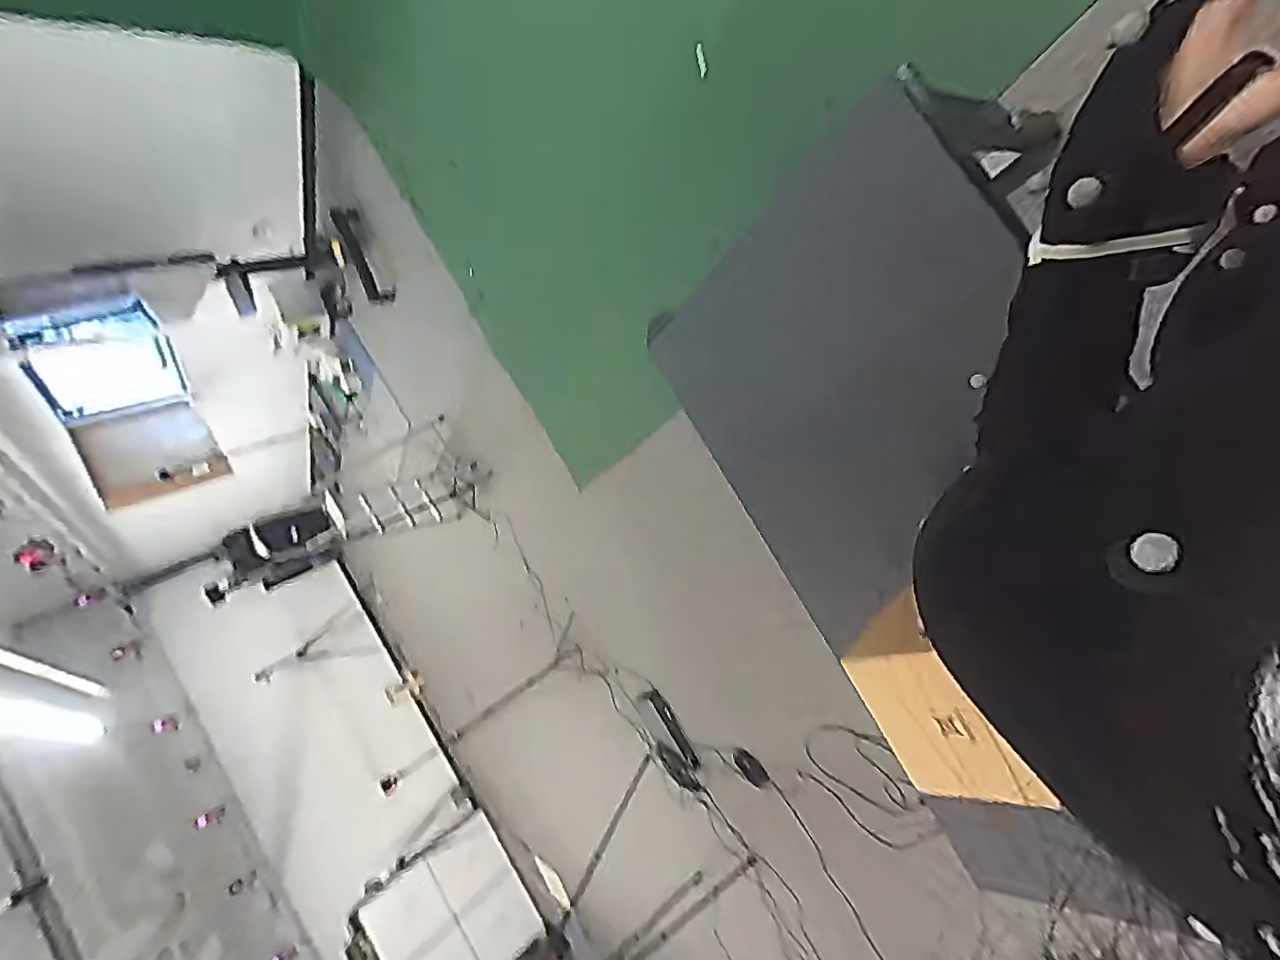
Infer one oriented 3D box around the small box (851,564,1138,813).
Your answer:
[{"bbox_3d":[0.372,0.211,0.576,0.168,0.176,0.179,60,143,5],"label":"small box"}]
